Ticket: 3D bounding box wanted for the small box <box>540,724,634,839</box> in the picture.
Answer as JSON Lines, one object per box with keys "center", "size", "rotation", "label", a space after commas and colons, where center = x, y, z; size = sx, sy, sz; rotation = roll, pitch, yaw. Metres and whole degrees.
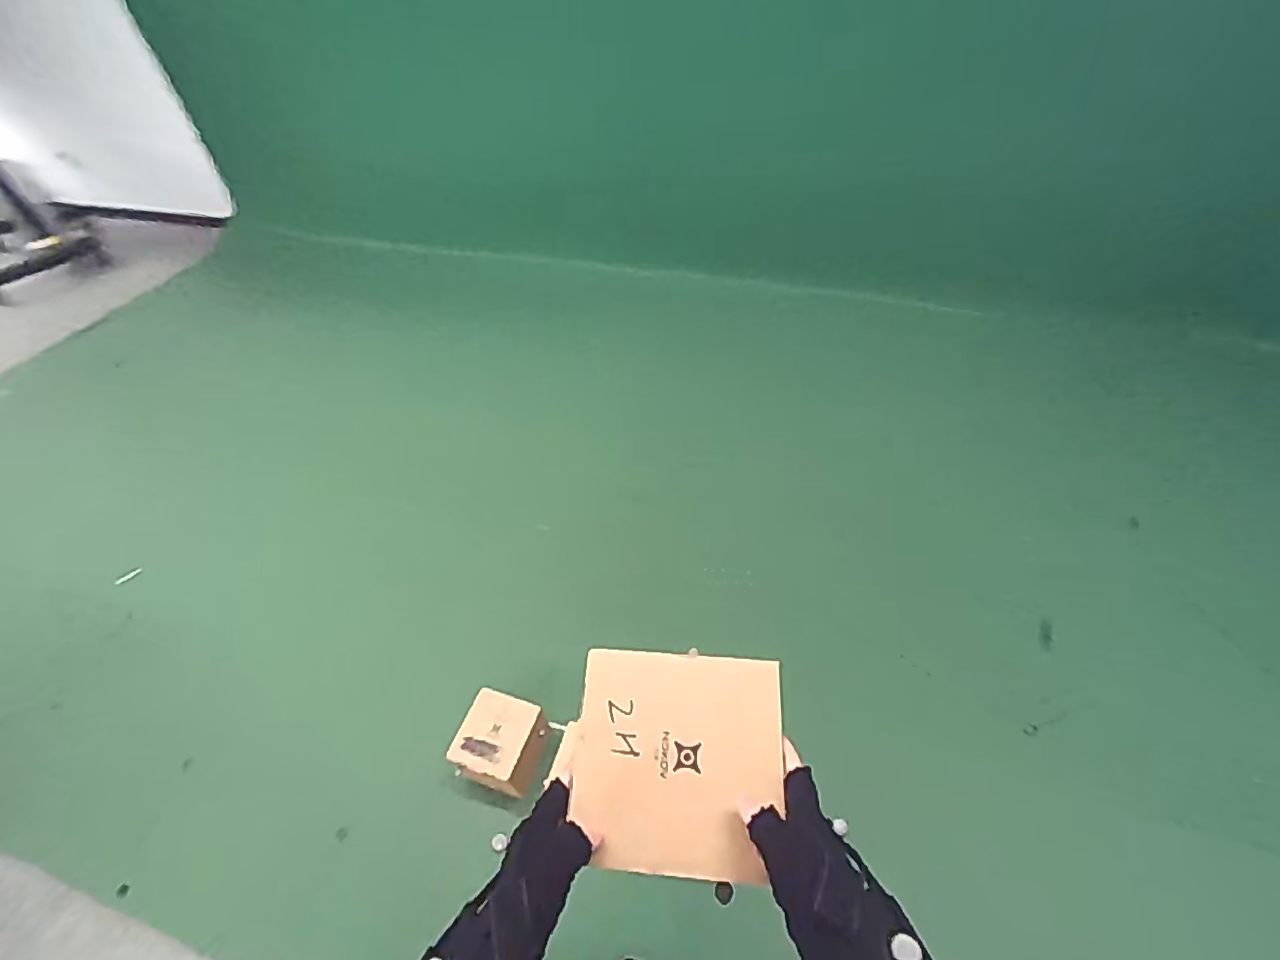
{"center": [-0.116, 0.711, 1.272], "size": [0.168, 0.176, 0.179], "rotation": [12, 50, 13], "label": "small box"}
